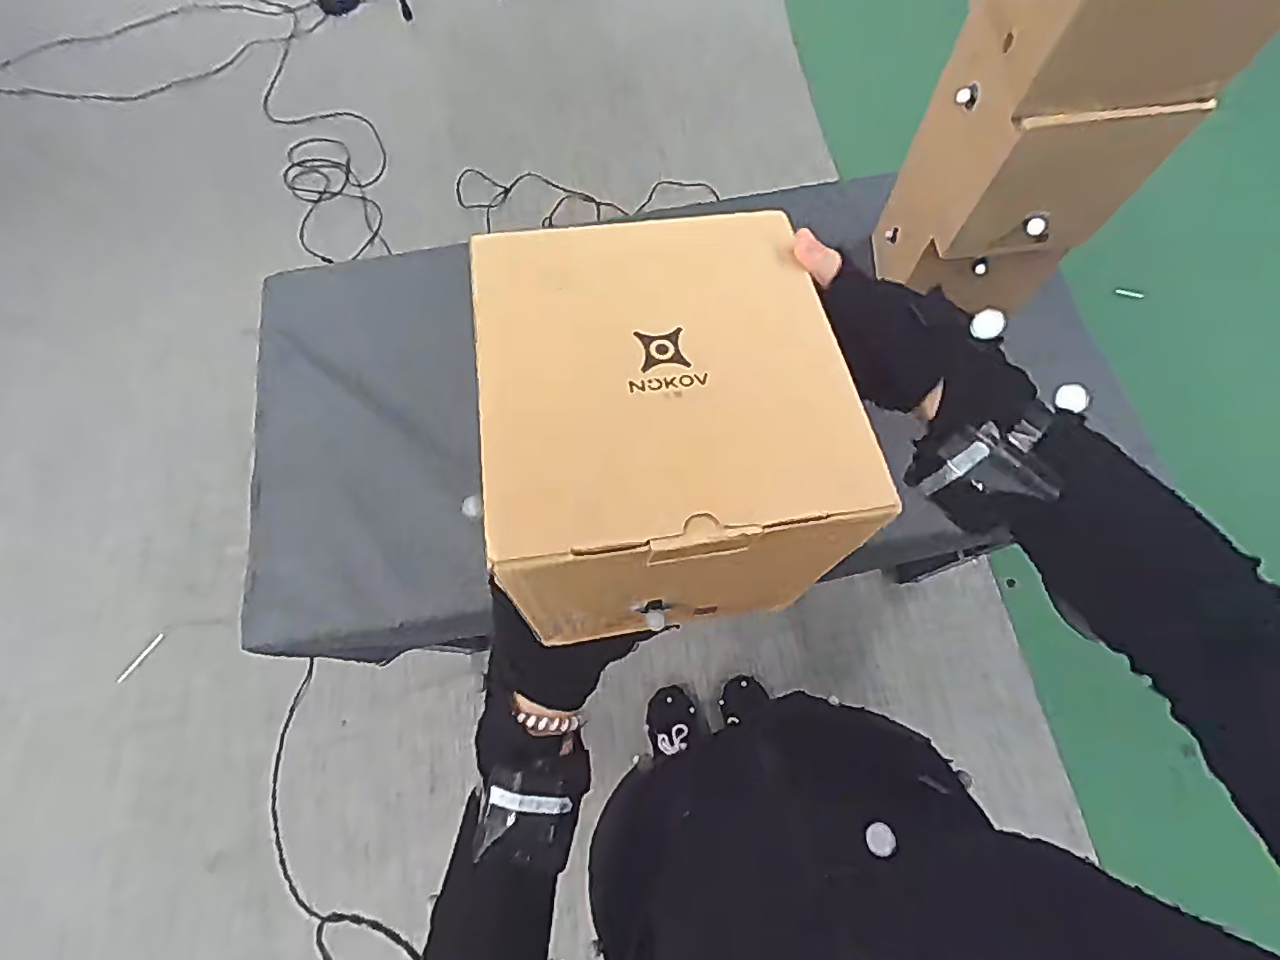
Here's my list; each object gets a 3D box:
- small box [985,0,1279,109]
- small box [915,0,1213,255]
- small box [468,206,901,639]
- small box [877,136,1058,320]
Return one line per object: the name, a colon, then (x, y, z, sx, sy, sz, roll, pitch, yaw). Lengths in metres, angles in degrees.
small box: (0.404, -0.427, 0.424, 0.179, 0.176, 0.168, -2, 72, 4)
small box: (0.419, -0.372, 0.576, 0.168, 0.176, 0.179, -4, 71, 3)
small box: (0.006, -0.022, 0.312, 0.168, 0.176, 0.179, -9, 66, -7)
small box: (0.437, -0.335, 0.736, 0.179, 0.176, 0.168, 2, 71, 4)
